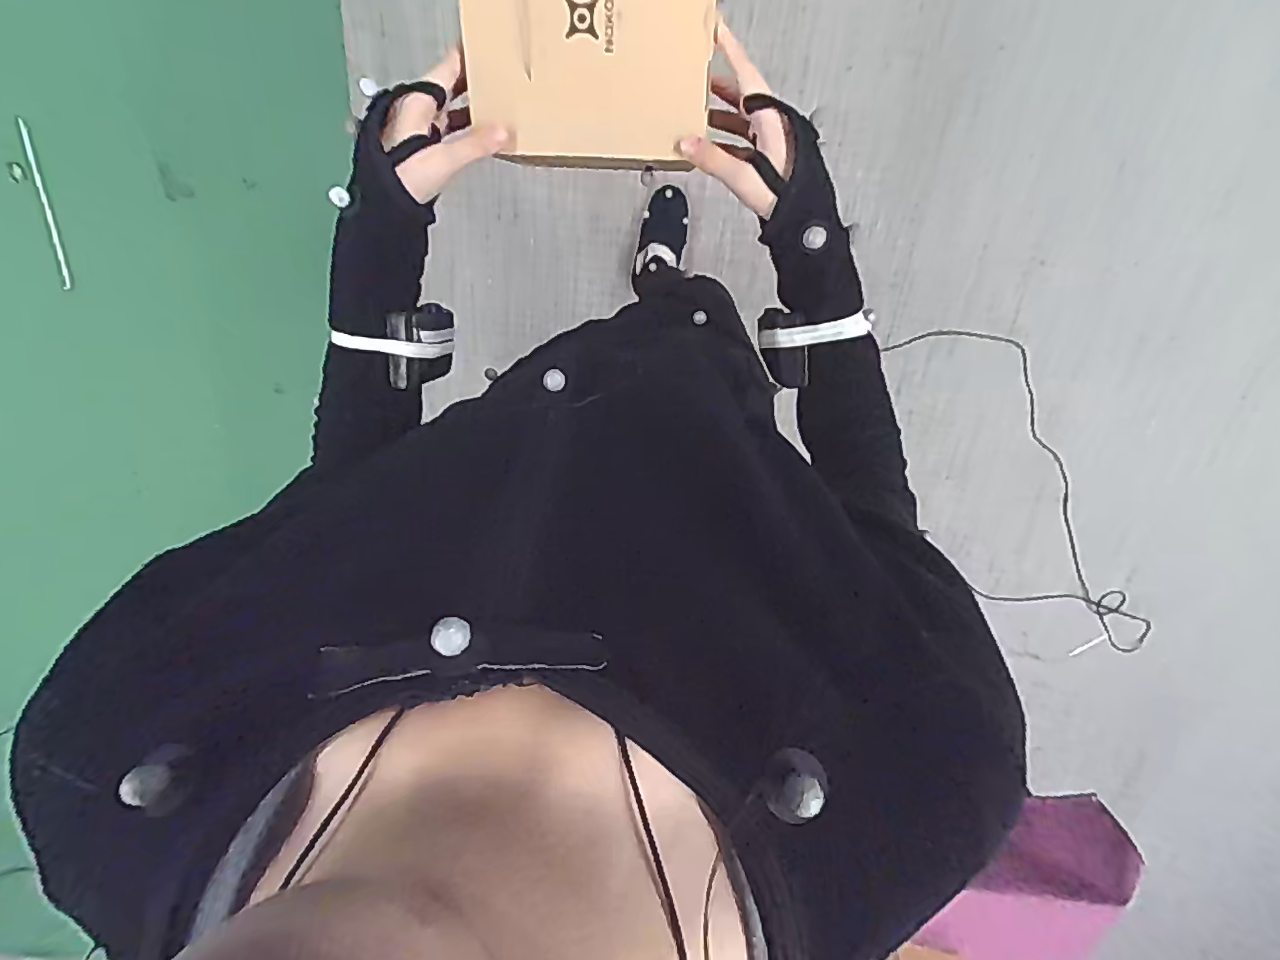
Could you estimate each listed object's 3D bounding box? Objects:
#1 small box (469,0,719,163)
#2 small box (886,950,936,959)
[{"bbox_3d":[-0.031,-0.365,0.445,0.179,0.176,0.168,3,116,1],"label":"small box"},{"bbox_3d":[0.590,1.100,1.089,0.179,0.176,0.168,17,111,-4],"label":"small box"}]
